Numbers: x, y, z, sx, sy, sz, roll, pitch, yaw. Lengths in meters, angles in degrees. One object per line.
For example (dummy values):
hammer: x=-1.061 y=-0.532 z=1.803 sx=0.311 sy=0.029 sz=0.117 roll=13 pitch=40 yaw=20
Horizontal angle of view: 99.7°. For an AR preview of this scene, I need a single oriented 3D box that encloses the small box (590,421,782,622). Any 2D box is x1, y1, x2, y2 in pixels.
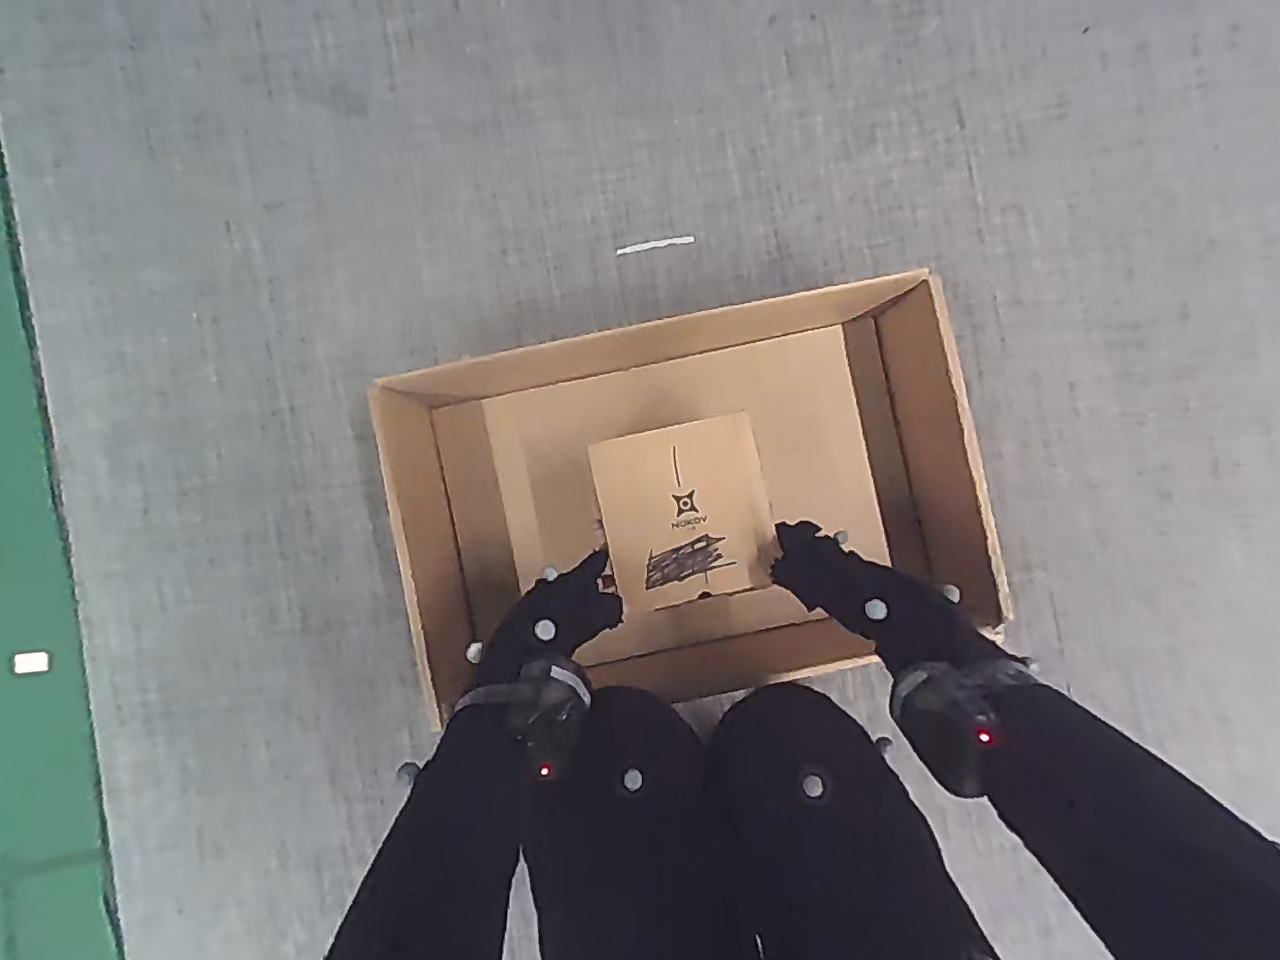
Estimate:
small box: x=0.046 y=0.046 z=0.618 sx=0.168 sy=0.176 sz=0.179 roll=-12 pitch=84 yaw=-2
